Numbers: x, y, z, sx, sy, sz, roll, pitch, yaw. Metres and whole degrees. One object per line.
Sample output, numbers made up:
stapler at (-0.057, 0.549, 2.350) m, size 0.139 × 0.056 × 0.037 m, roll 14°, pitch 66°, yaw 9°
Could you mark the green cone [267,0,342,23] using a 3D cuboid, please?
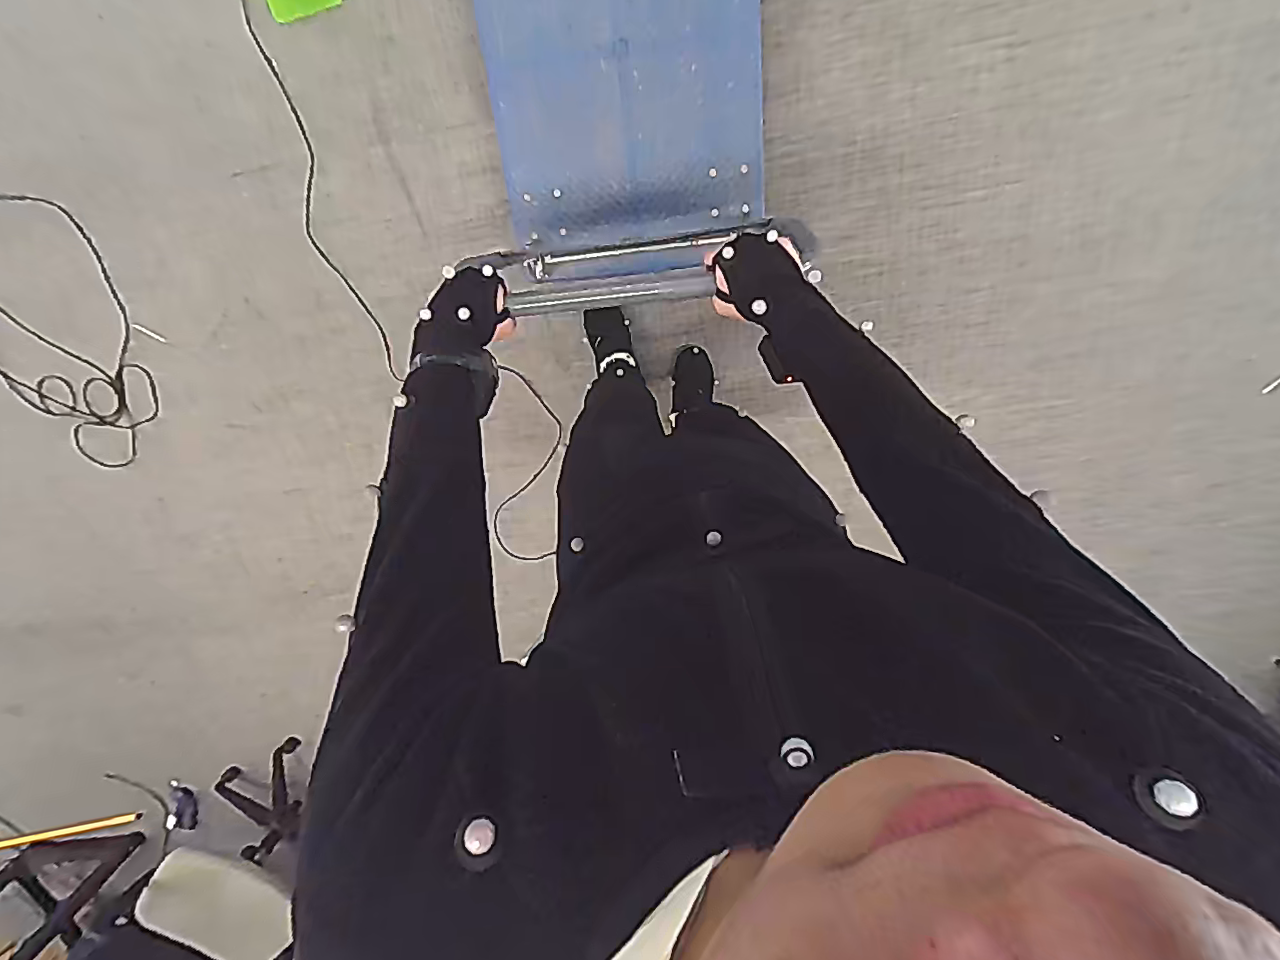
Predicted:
green cone at (-0.806, -1.123, 1.074) m, size 0.202 × 0.368 × 0.200 m, roll -11°, pitch 110°, yaw 10°
